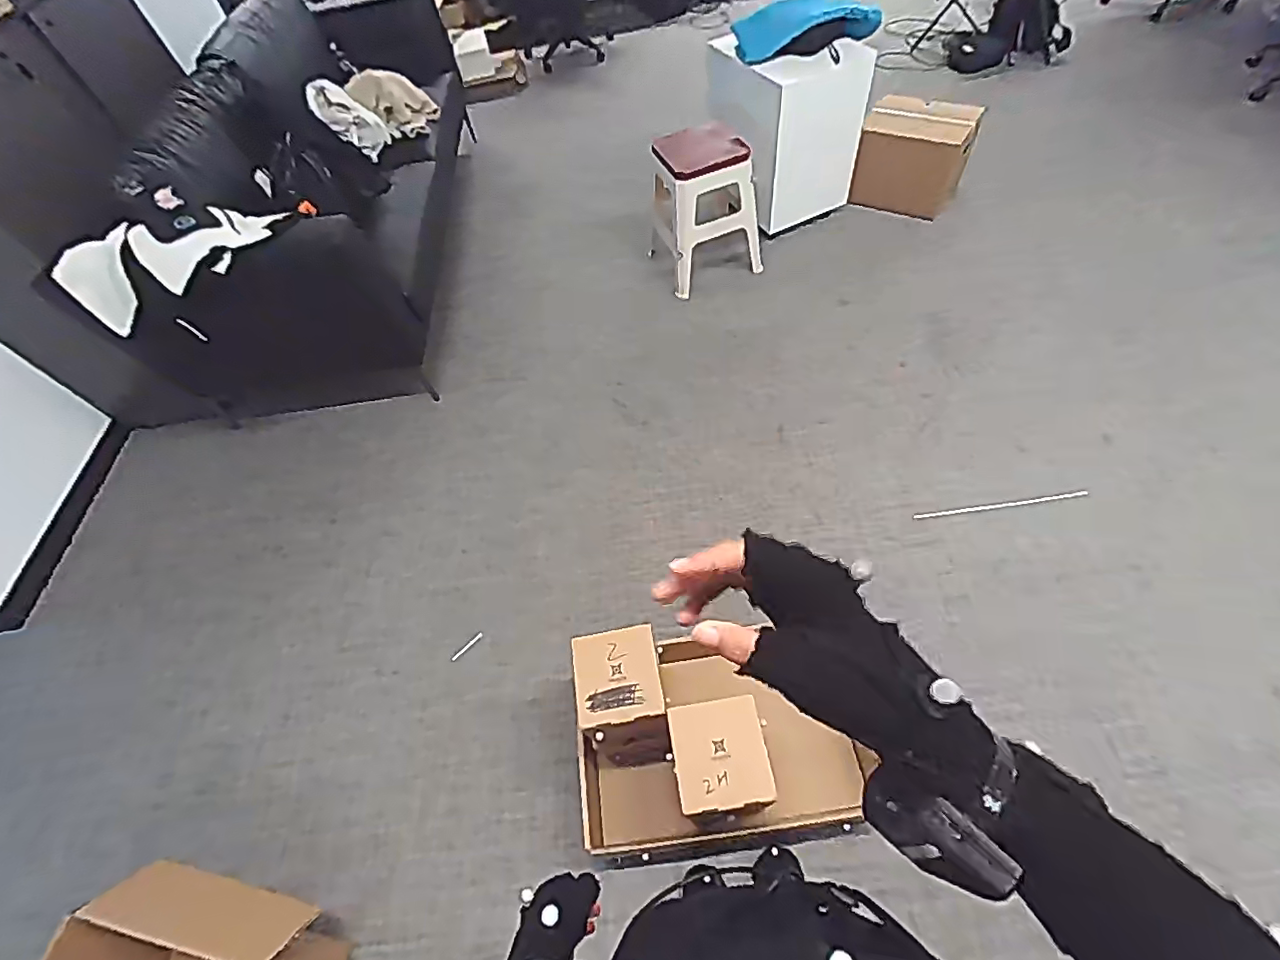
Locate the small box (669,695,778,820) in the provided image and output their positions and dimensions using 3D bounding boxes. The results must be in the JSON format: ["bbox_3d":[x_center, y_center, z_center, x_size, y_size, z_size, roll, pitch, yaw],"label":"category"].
[{"bbox_3d":[0.149,0.526,1.019,0.168,0.176,0.179,-9,56,1],"label":"small box"}]
